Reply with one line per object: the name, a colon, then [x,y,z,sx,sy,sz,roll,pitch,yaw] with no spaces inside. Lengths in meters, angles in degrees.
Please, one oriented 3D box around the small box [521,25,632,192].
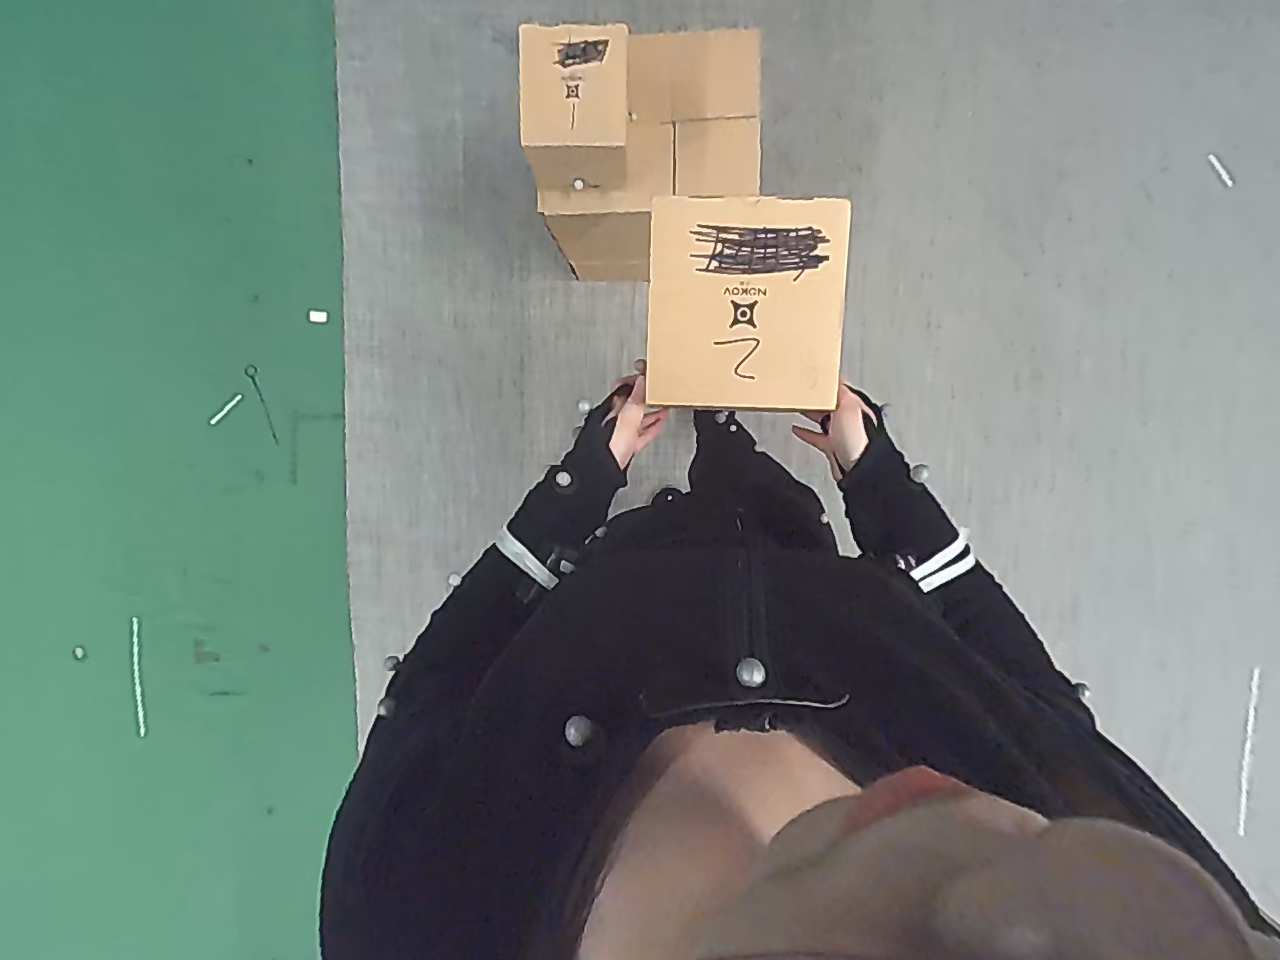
small box: [-0.101,-0.611,0.907,0.168,0.176,0.179,1,98,1]
